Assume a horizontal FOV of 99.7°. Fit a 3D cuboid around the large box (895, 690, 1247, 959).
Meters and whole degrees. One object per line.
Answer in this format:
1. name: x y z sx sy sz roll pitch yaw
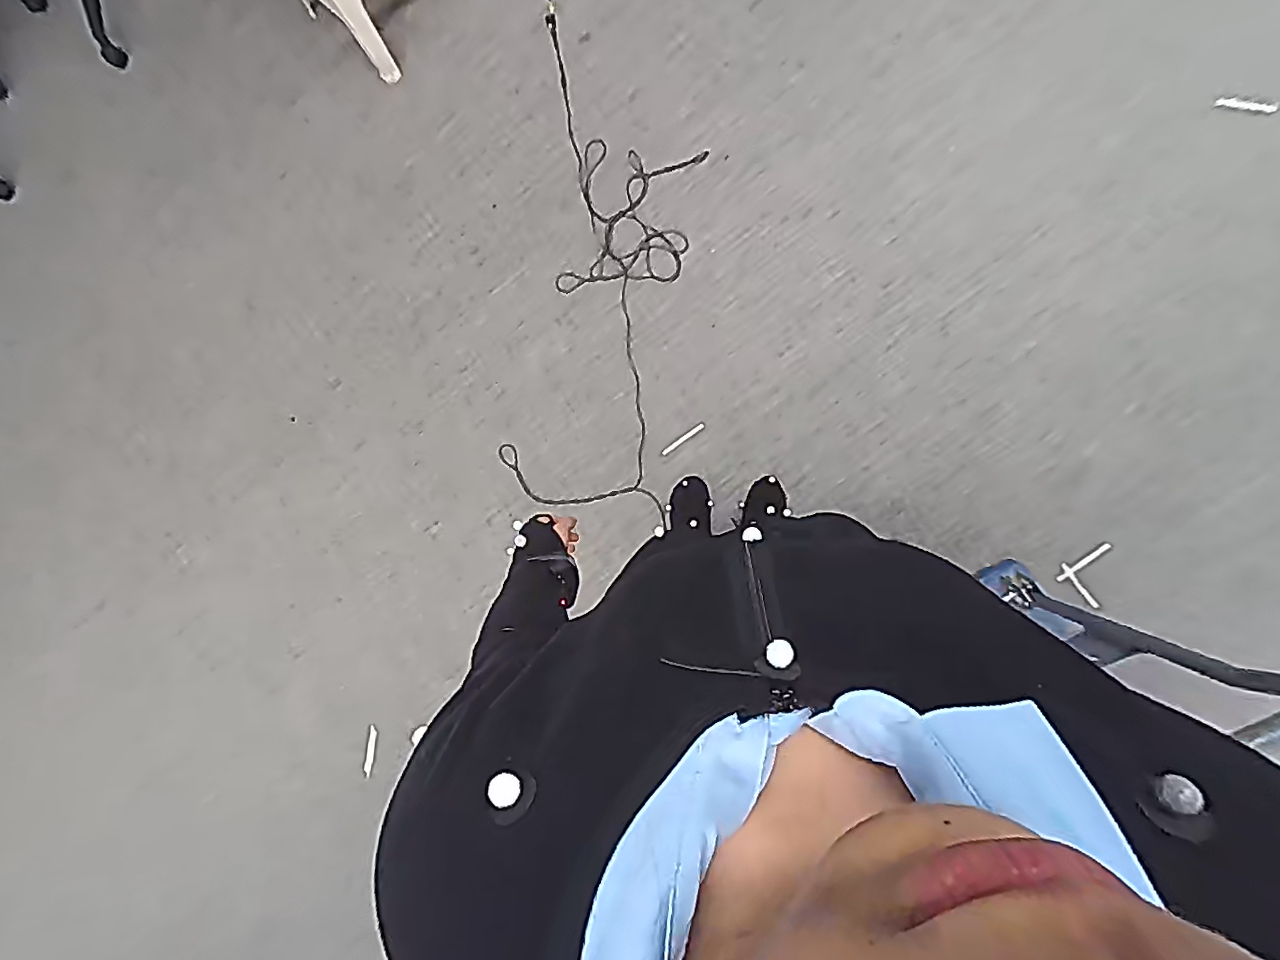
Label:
1. large box: 0.829 0.705 1.114 0.408 0.320 0.320 -28 87 5
